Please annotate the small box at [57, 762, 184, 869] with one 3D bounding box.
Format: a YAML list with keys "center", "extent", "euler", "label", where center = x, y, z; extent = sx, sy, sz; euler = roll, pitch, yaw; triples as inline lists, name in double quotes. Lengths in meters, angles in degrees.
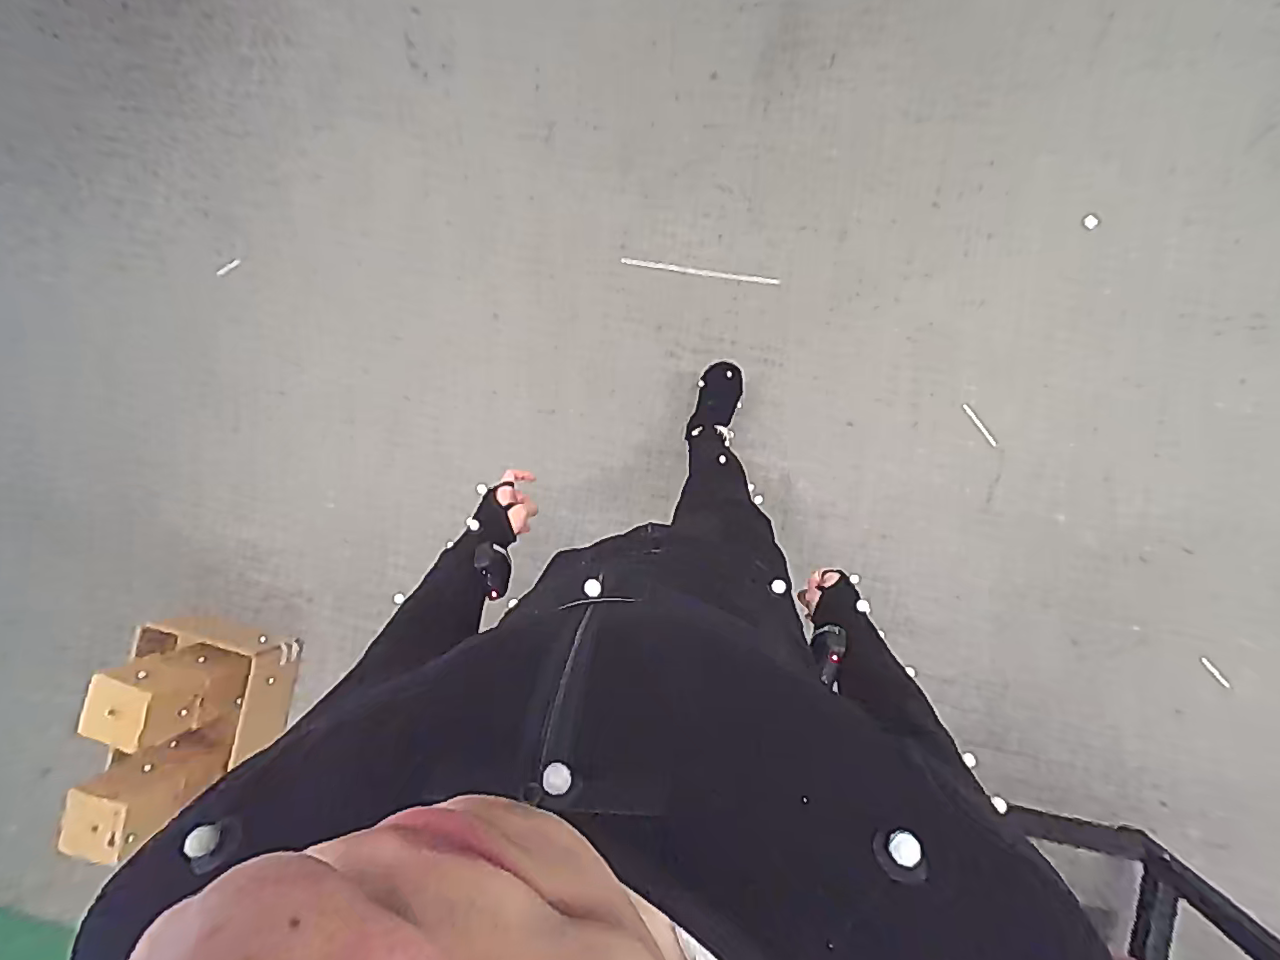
- center: [-1.405, 0.900, 1.470]
  extent: [0.179, 0.176, 0.168]
  euler: [10, 92, 7]
  label: "small box"

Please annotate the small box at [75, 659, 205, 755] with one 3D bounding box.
- center: [-1.350, 0.606, 1.470]
  extent: [0.179, 0.176, 0.168]
  euler: [17, 91, 5]
  label: "small box"
